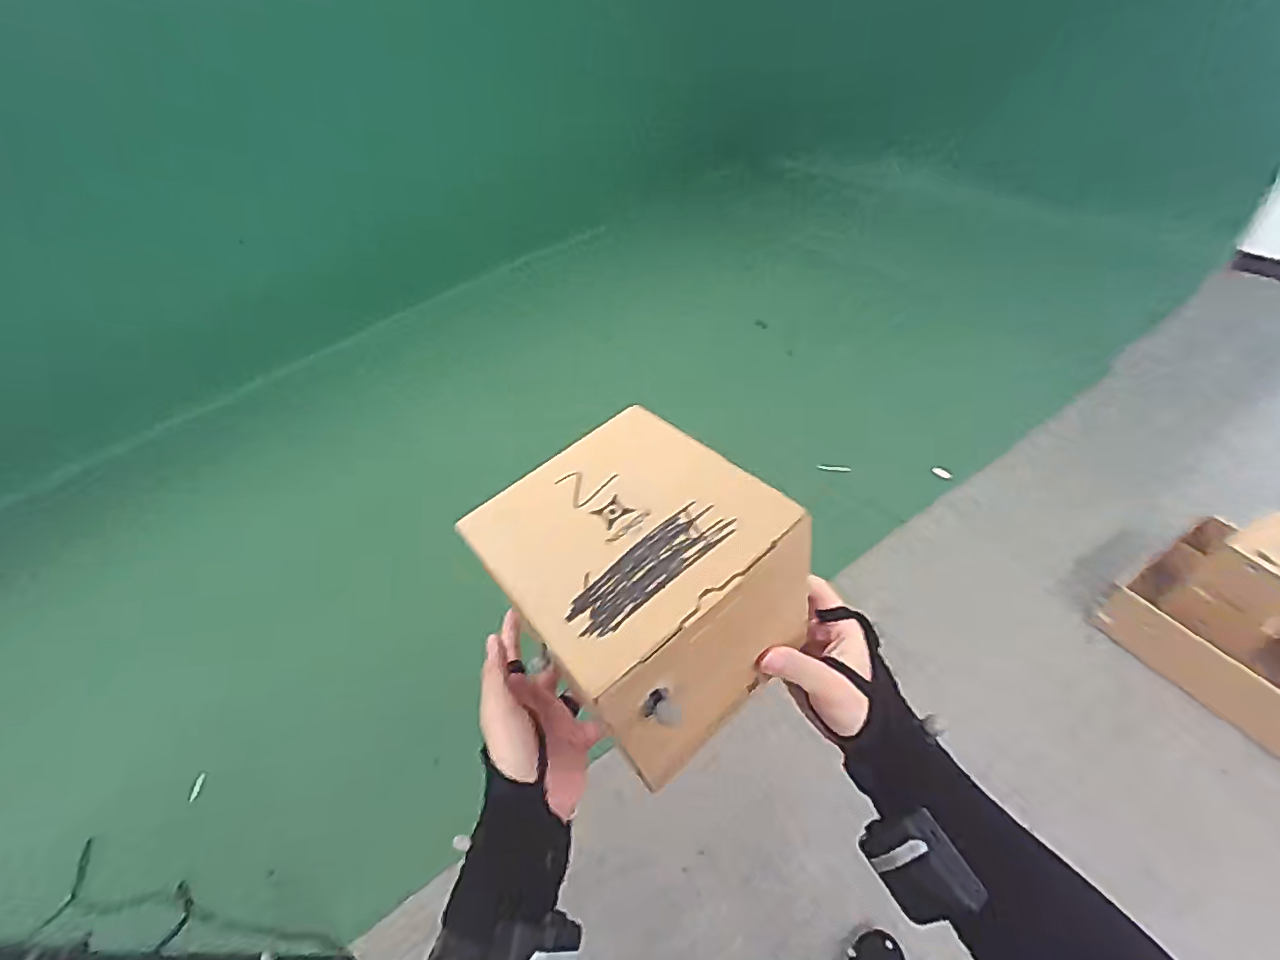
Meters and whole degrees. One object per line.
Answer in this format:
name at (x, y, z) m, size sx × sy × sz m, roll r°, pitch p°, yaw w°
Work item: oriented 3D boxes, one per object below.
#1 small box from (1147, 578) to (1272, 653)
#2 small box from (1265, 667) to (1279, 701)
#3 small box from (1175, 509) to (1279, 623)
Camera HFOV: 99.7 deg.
small box at (1.485, 0.318, 1.408) m, size 0.179 × 0.176 × 0.168 m, roll -32°, pitch 51°, yaw -15°
small box at (1.623, 0.470, 1.243) m, size 0.179 × 0.176 × 0.168 m, roll -32°, pitch 49°, yaw -14°
small box at (1.455, 0.207, 1.290) m, size 0.179 × 0.176 × 0.168 m, roll -26°, pitch 48°, yaw -11°
